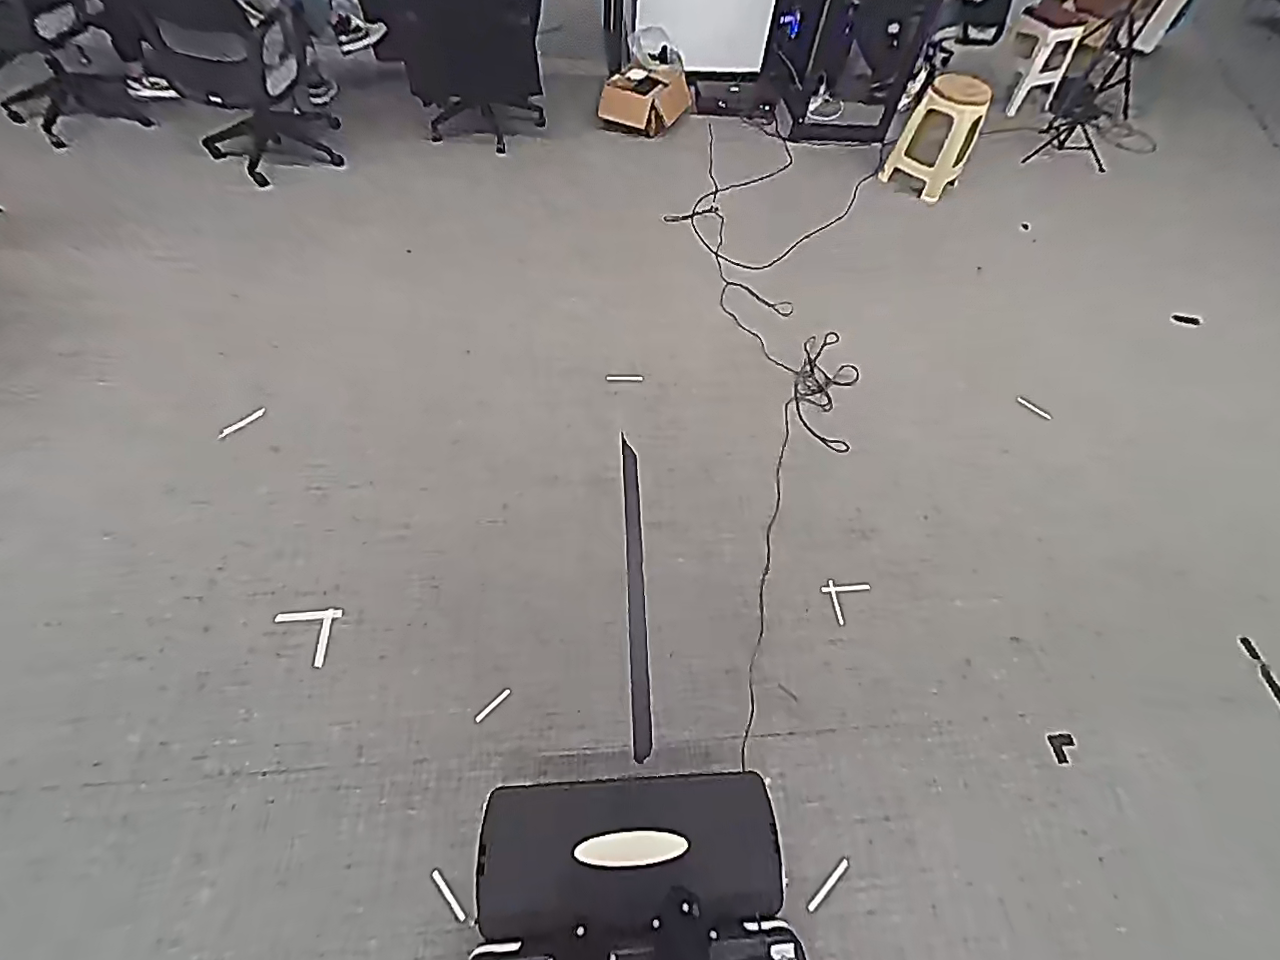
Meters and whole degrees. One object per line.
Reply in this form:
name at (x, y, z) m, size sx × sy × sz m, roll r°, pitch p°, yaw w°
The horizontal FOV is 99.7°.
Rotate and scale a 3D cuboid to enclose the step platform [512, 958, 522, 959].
step platform at (0.007, 1.084, 0.993) m, size 0.684 × 0.204 × 0.286 m, roll 2°, pitch 55°, yaw -1°
